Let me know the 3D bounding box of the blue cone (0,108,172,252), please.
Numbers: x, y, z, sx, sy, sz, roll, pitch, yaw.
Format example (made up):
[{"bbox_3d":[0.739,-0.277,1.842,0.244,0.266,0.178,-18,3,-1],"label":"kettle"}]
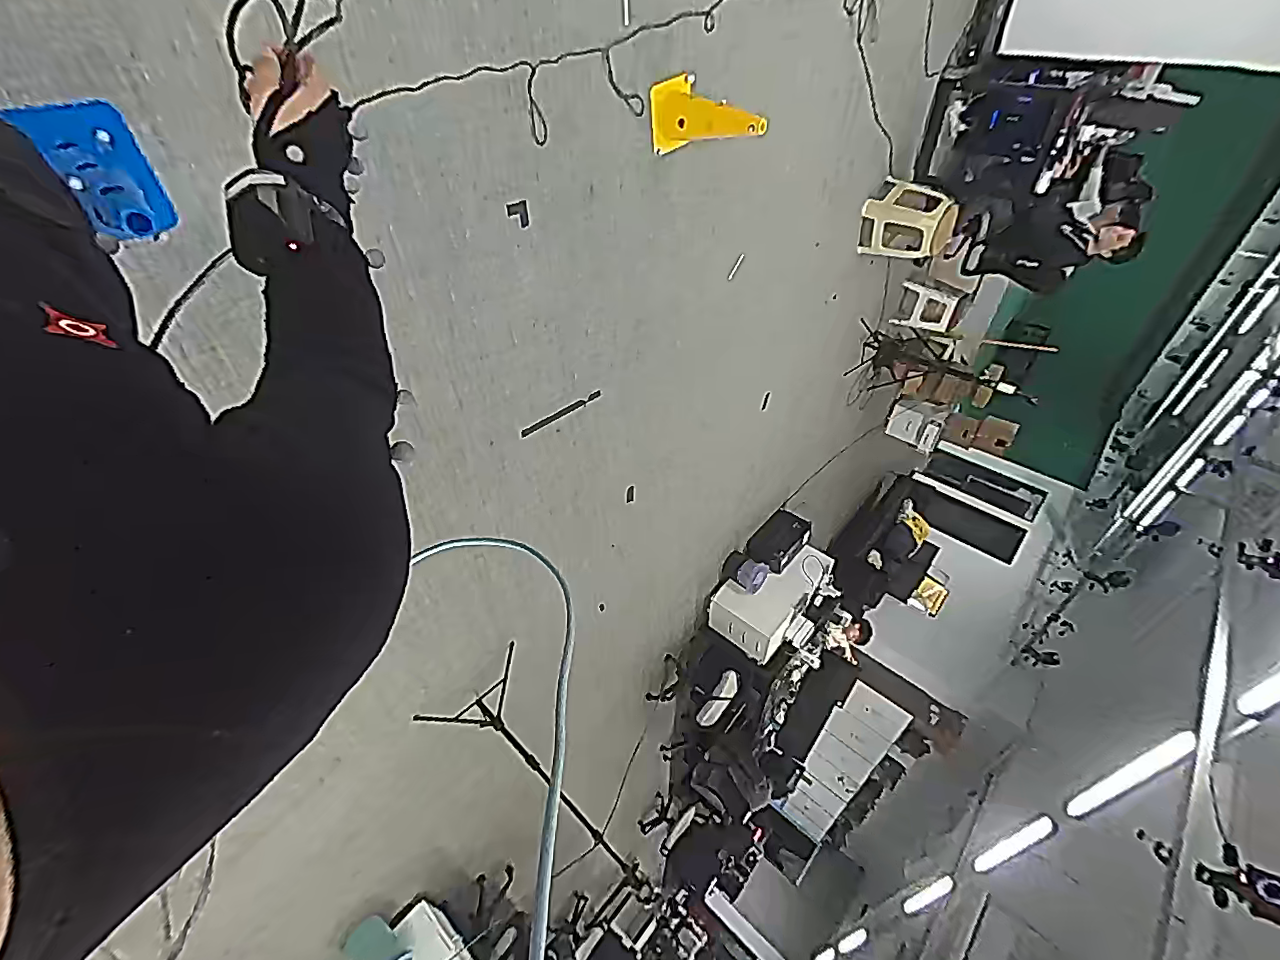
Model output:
[{"bbox_3d":[-0.803,-0.422,0.816,0.193,0.380,0.192,-36,144,-33],"label":"blue cone"}]
